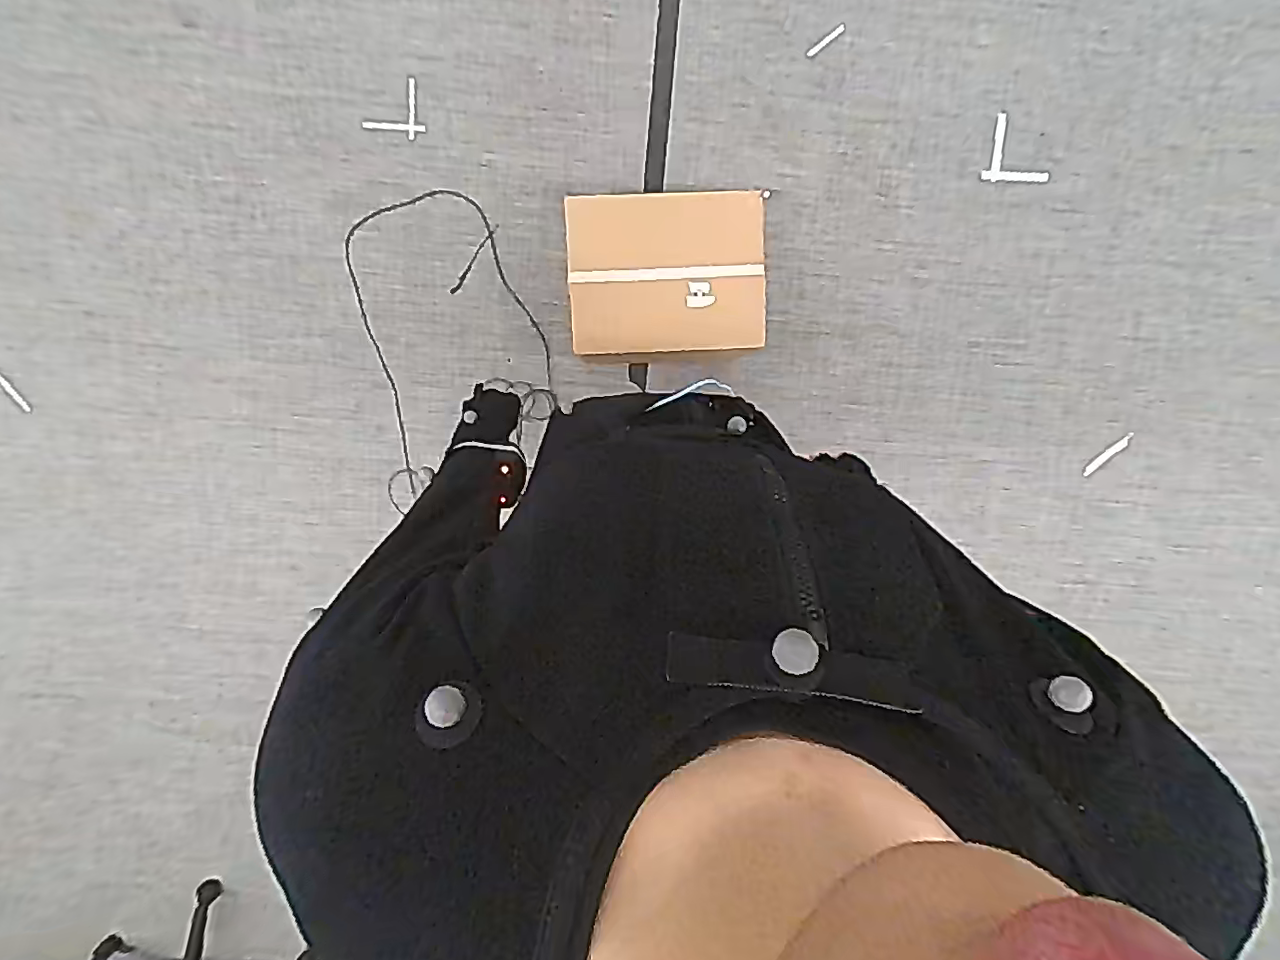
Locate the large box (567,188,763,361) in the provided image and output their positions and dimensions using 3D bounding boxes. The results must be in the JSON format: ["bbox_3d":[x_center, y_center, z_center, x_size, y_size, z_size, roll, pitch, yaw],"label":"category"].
[{"bbox_3d":[0.049,-0.455,1.265,0.408,0.320,0.320,-2,99,-2],"label":"large box"}]
